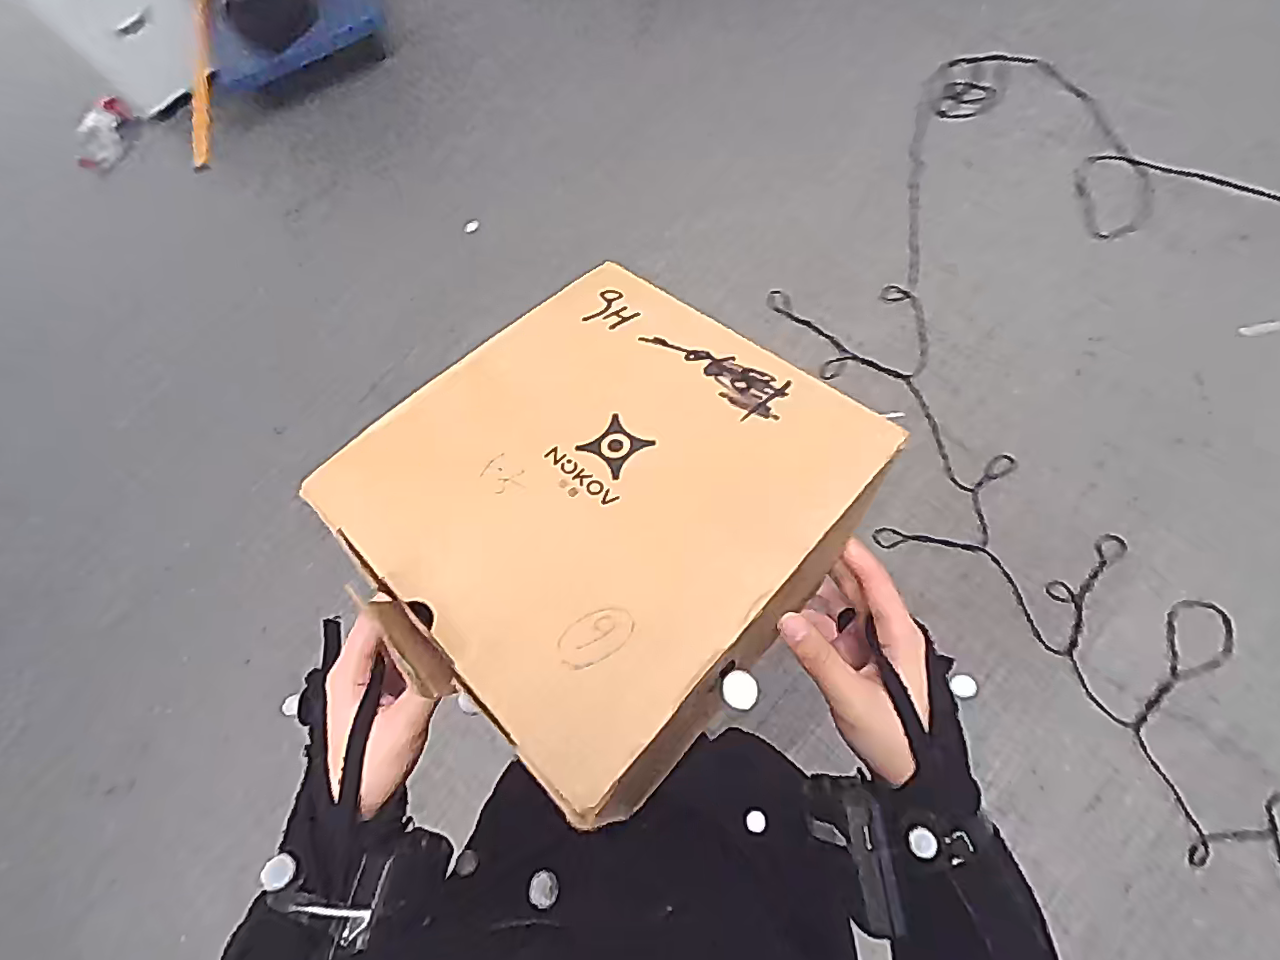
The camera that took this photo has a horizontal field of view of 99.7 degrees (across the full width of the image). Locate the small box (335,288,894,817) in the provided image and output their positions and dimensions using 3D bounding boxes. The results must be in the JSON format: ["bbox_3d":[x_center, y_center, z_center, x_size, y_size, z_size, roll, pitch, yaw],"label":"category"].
[{"bbox_3d":[-0.006,0.042,0.289,0.168,0.176,0.179,39,69,23],"label":"small box"}]
